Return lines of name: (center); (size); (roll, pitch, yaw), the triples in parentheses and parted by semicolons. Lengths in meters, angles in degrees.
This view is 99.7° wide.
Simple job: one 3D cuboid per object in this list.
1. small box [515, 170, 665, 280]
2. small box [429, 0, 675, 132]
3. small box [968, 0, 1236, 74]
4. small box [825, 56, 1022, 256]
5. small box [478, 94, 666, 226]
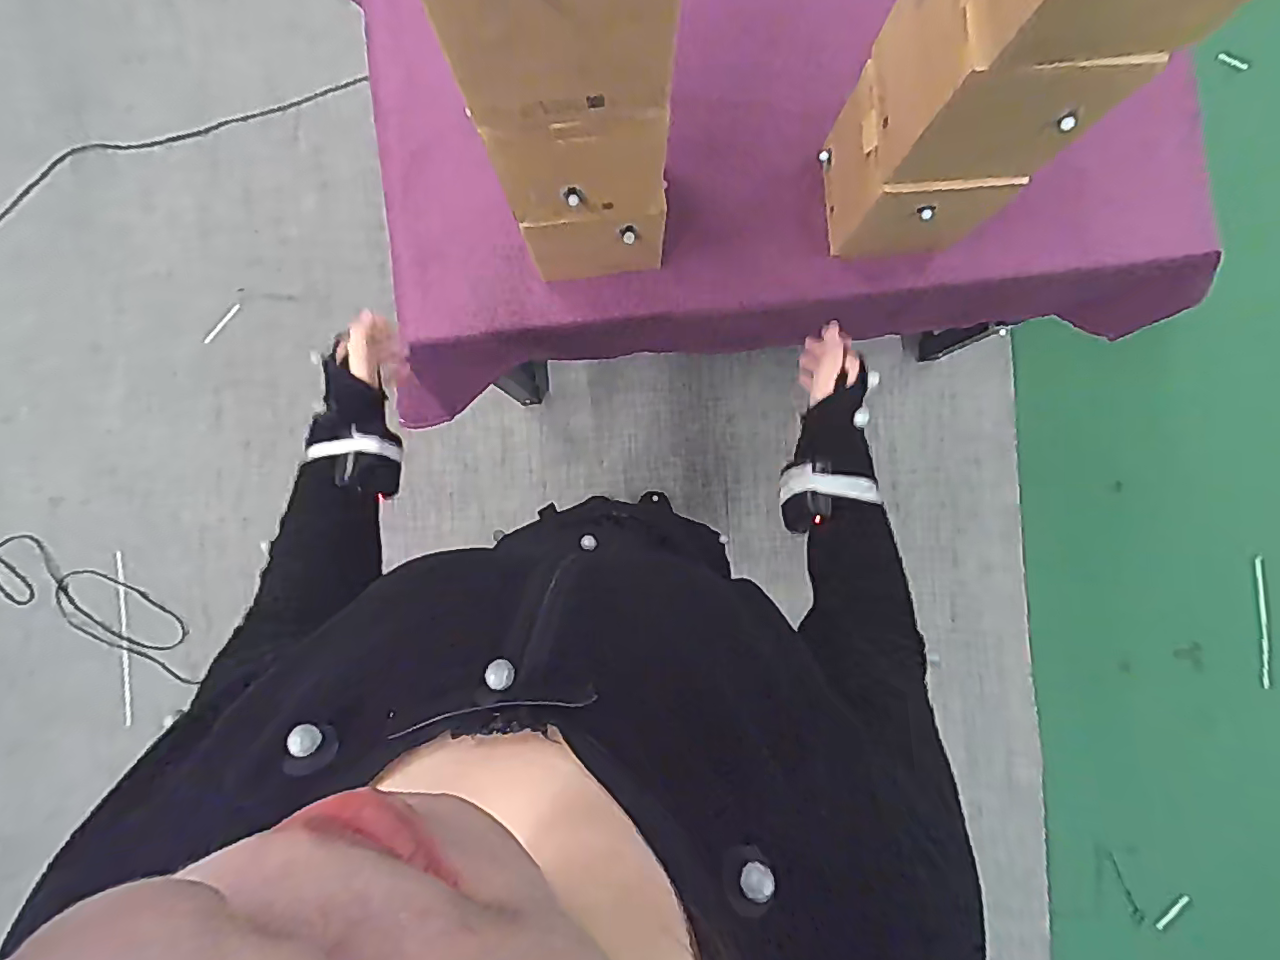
small box: (-0.066, -0.380, 0.711); (0.179, 0.176, 0.168); (-6, 88, 0)
small box: (-0.067, -0.391, 0.384); (0.168, 0.176, 0.179); (-6, 89, 0)
small box: (0.368, -0.436, 0.387); (0.179, 0.176, 0.168); (-6, 88, -1)
small box: (0.356, -0.412, 0.714); (0.179, 0.176, 0.168); (-4, 89, -1)
small box: (-0.068, -0.389, 0.549); (0.168, 0.176, 0.179); (-7, 90, -1)
